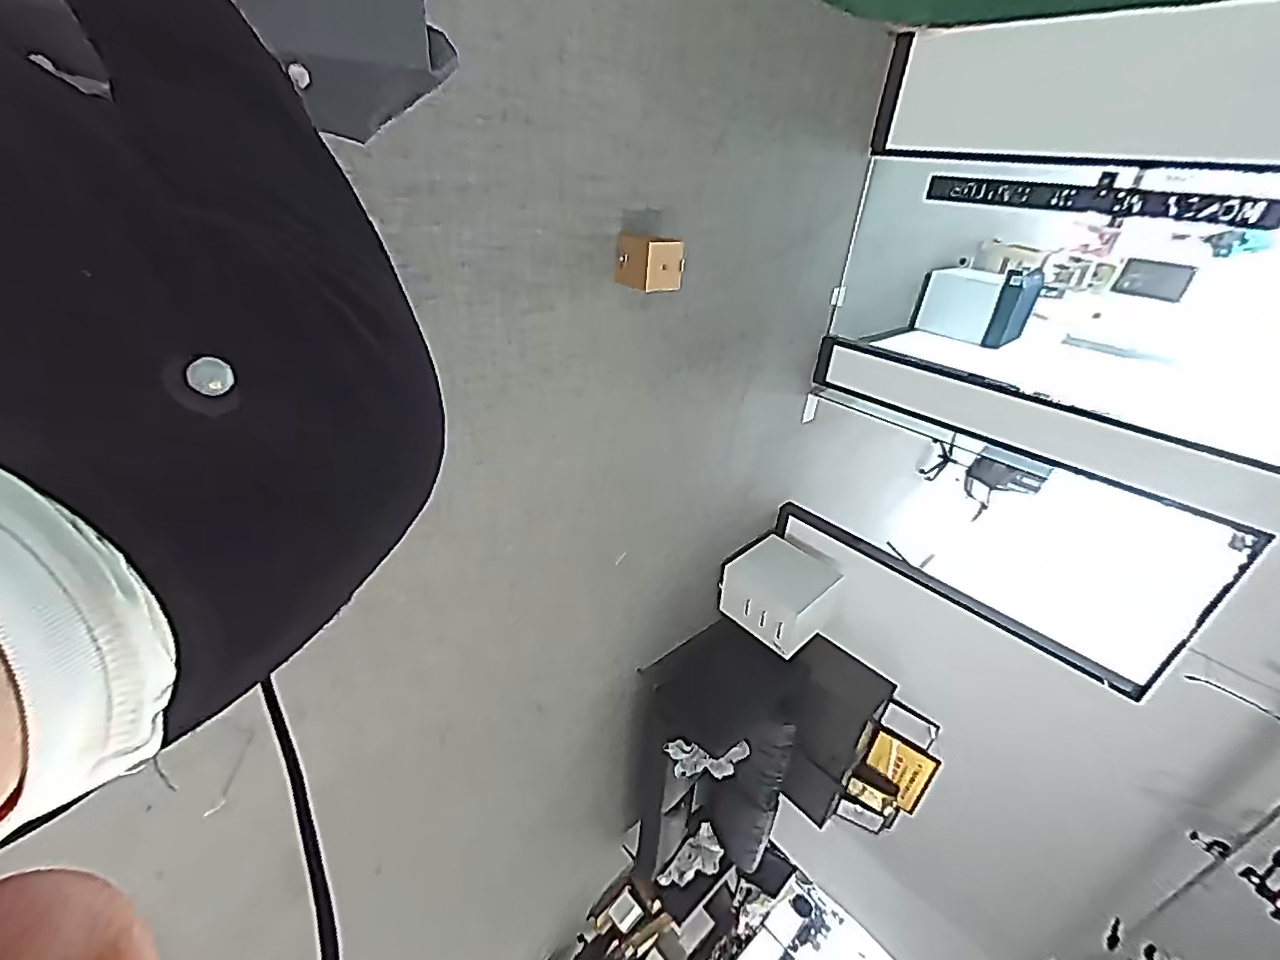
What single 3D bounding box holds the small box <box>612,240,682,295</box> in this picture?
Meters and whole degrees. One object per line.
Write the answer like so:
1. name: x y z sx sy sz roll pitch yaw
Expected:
1. small box: 0.024 -0.766 1.945 0.179 0.176 0.168 -18 125 -40
